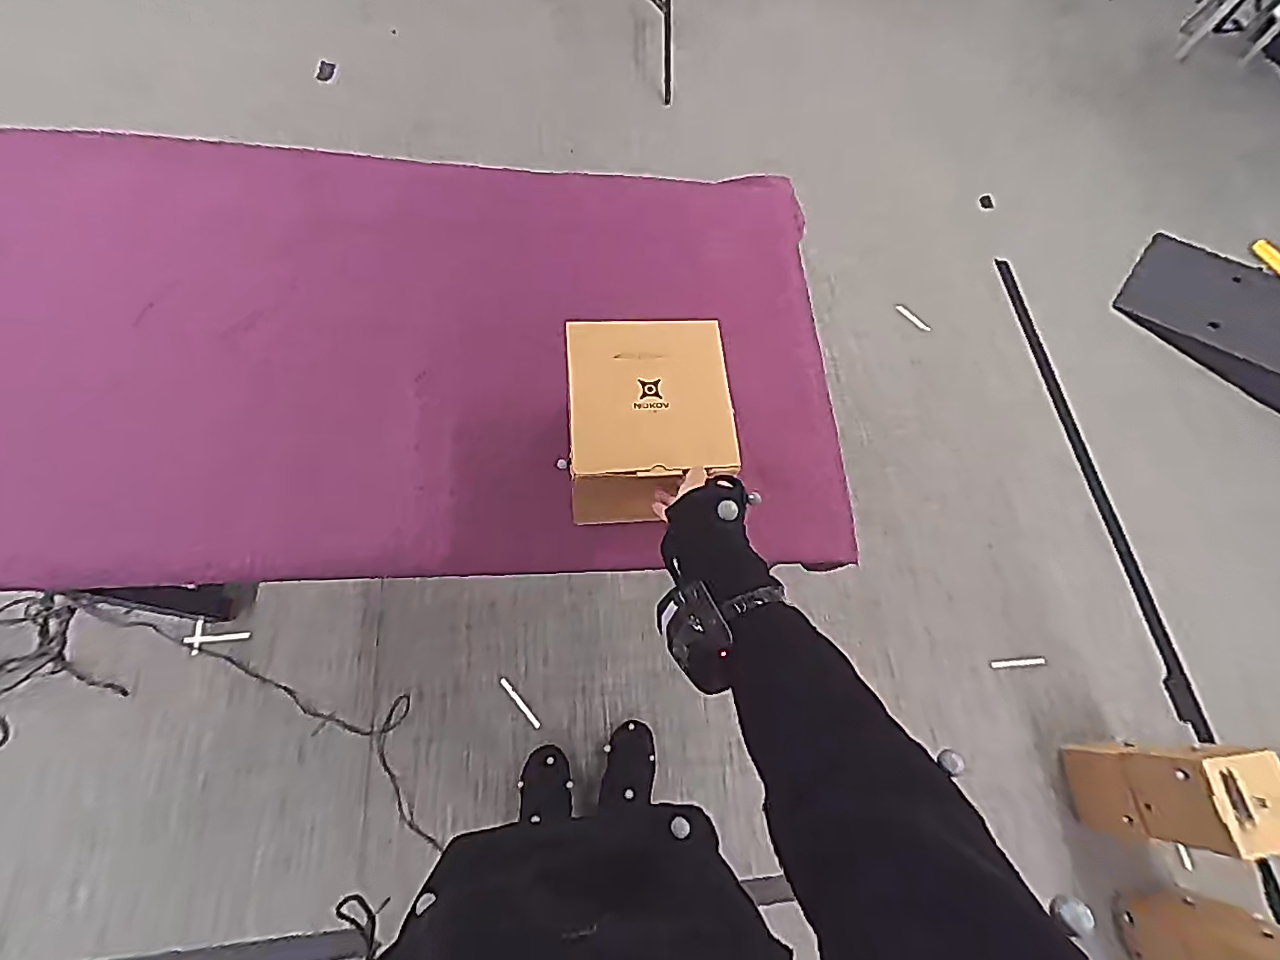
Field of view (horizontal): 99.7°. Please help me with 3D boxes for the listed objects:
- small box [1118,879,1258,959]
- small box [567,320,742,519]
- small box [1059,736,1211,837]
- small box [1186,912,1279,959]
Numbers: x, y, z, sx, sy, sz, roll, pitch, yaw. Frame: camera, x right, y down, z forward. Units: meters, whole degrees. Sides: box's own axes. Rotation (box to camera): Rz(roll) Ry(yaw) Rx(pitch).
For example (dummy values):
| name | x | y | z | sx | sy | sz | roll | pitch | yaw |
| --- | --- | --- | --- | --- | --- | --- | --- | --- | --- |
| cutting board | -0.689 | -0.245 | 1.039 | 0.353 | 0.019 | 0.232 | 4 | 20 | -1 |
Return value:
| name | x | y | z | sx | sy | sz | roll | pitch | yaw |
| --- | --- | --- | --- | --- | --- | --- | --- | --- | --- |
| small box | 1.174 | 0.977 | 1.145 | 0.179 | 0.176 | 0.168 | -3 | 70 | -8 |
| small box | 0.004 | -0.059 | 0.617 | 0.168 | 0.176 | 0.179 | -3 | 69 | -8 |
| small box | 1.125 | 0.695 | 1.247 | 0.168 | 0.176 | 0.179 | -2 | 70 | -8 |
| small box | 1.174 | 0.925 | 0.988 | 0.168 | 0.176 | 0.179 | -1 | 70 | -6 |
